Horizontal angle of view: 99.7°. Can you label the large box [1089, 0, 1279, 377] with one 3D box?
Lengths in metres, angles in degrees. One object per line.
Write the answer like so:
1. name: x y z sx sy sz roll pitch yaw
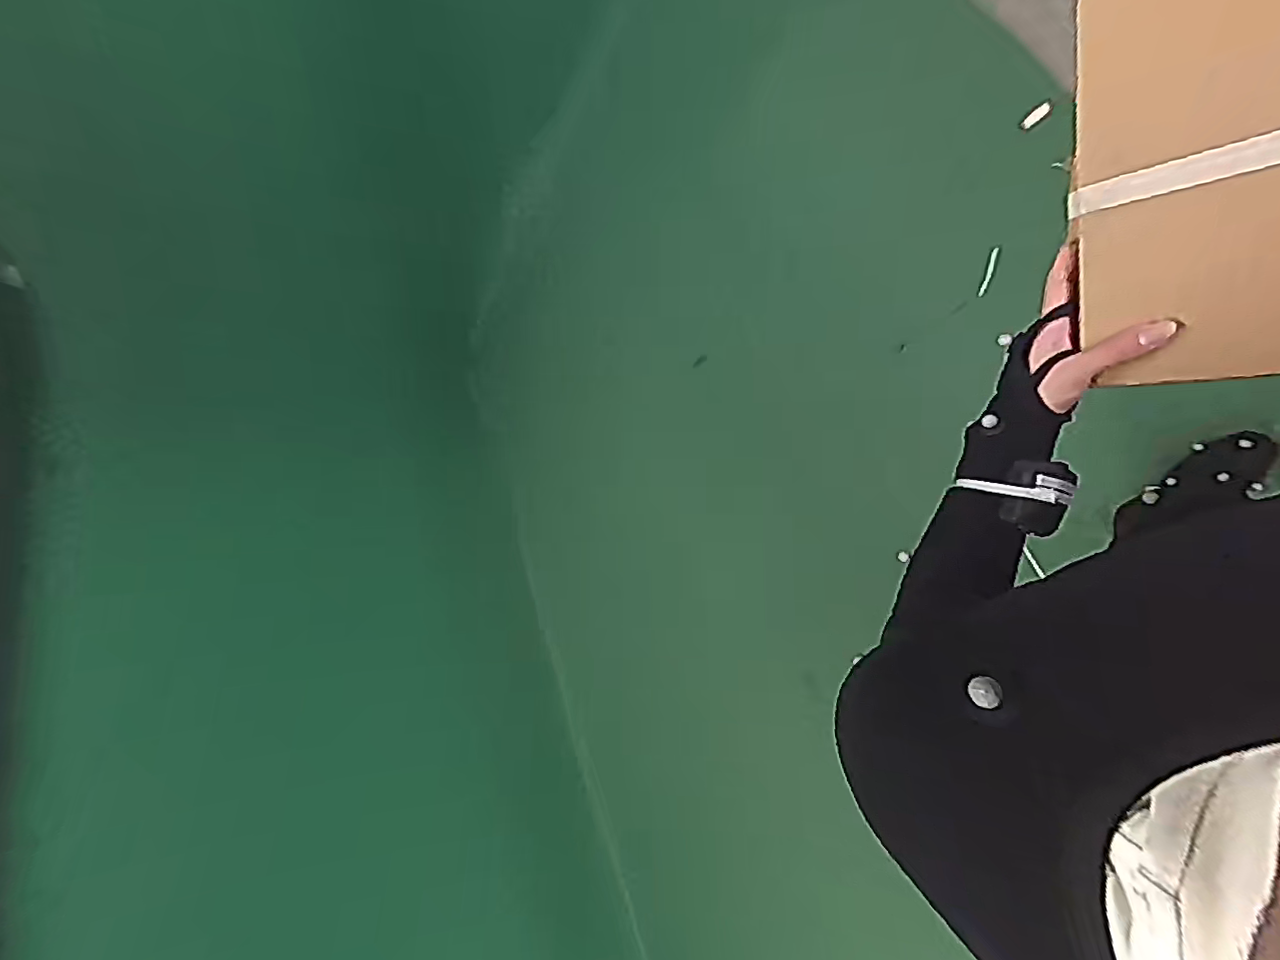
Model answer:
1. large box: 0.617 -0.267 0.409 0.408 0.320 0.320 3 105 46
